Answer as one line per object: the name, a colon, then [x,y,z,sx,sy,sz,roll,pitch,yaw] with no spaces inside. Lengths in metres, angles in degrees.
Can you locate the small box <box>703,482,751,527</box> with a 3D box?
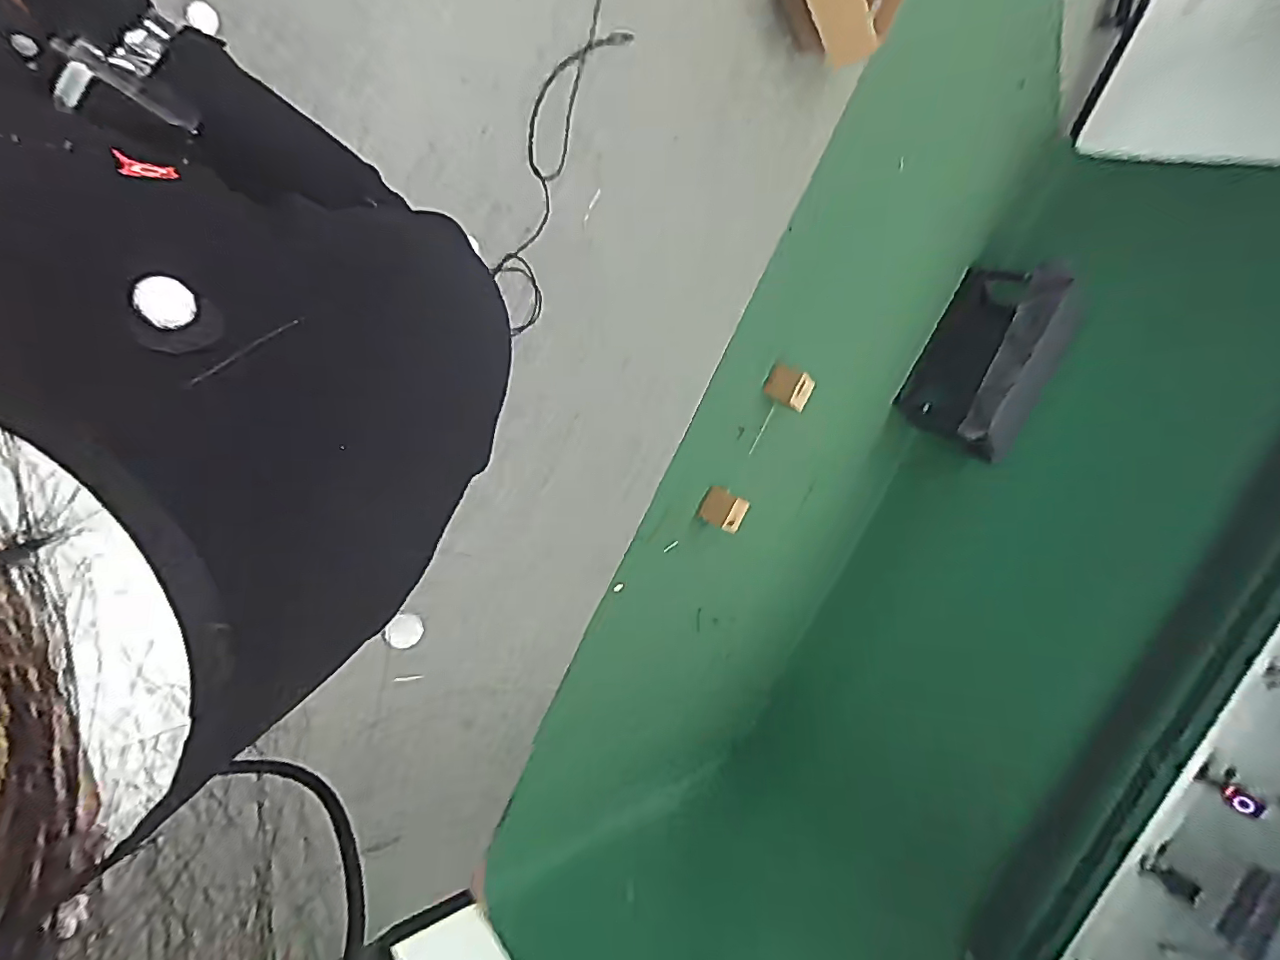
small box: [0.463,0.133,2.931,0.168,0.176,0.179,20,99,-53]
